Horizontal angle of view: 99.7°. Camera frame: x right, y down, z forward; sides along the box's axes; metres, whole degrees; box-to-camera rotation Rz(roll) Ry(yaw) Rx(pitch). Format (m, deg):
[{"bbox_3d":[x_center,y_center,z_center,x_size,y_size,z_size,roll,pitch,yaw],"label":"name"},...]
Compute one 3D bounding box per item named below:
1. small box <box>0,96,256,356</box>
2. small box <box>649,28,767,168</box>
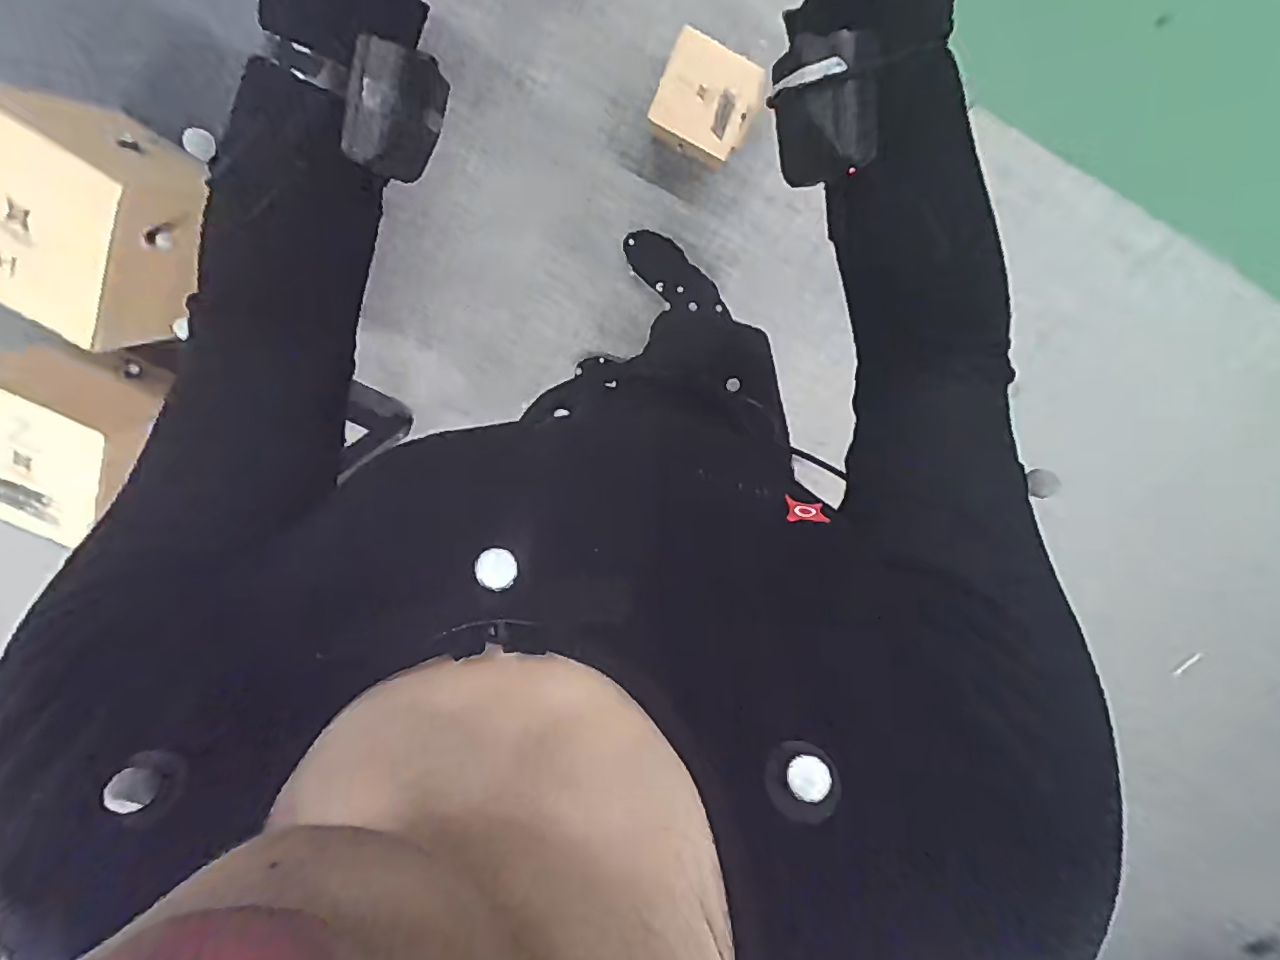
[{"bbox_3d":[-0.551,-0.262,0.566,0.168,0.176,0.179,32,113,-9],"label":"small box"},{"bbox_3d":[0.133,-0.763,1.105,0.179,0.176,0.168,25,113,-7],"label":"small box"}]
